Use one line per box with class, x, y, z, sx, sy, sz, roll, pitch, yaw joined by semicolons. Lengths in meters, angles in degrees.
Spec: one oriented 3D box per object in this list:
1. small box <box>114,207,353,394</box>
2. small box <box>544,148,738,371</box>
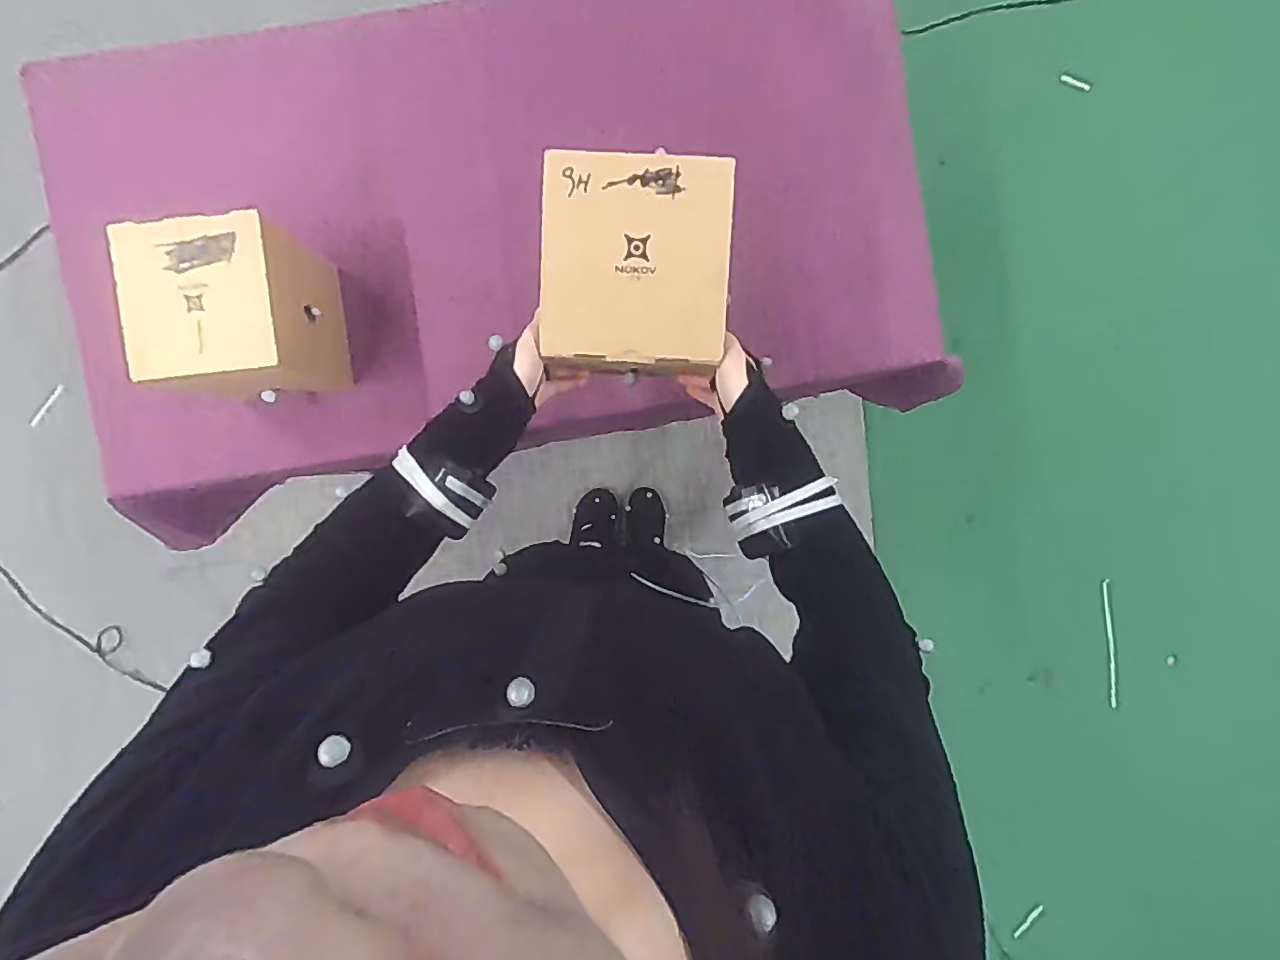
small box;-0.487;-0.211;0.675;0.168;0.176;0.179;-6;93;-1
small box;0.000;-0.206;0.553;0.168;0.176;0.179;3;98;0
